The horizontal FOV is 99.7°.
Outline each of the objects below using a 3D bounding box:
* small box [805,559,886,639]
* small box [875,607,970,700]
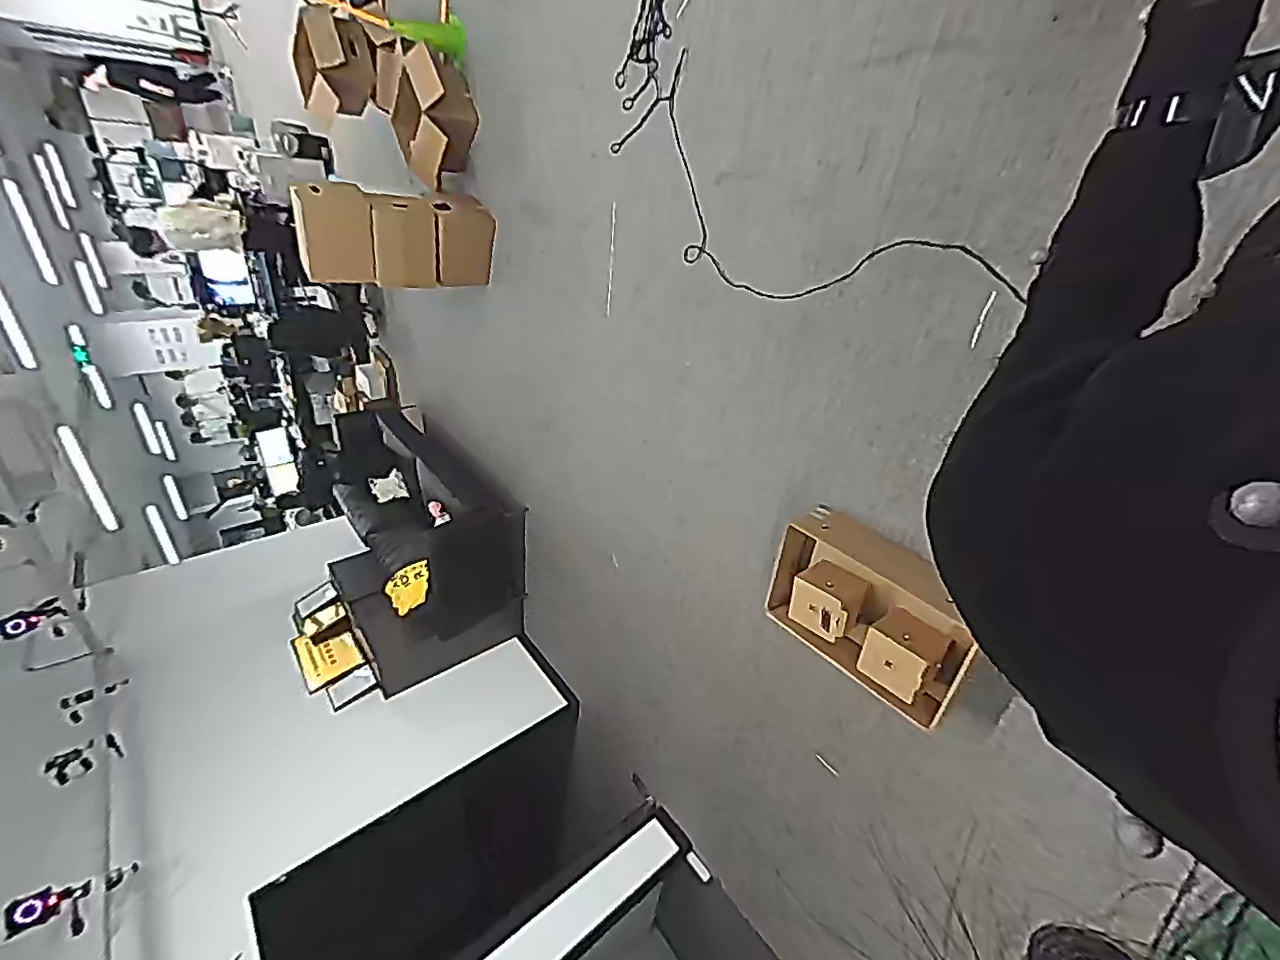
[{"bbox_3d":[0.672,0.381,1.767,0.179,0.176,0.168,28,126,45],"label":"small box"},{"bbox_3d":[0.835,0.502,1.595,0.179,0.176,0.168,33,128,44],"label":"small box"}]
